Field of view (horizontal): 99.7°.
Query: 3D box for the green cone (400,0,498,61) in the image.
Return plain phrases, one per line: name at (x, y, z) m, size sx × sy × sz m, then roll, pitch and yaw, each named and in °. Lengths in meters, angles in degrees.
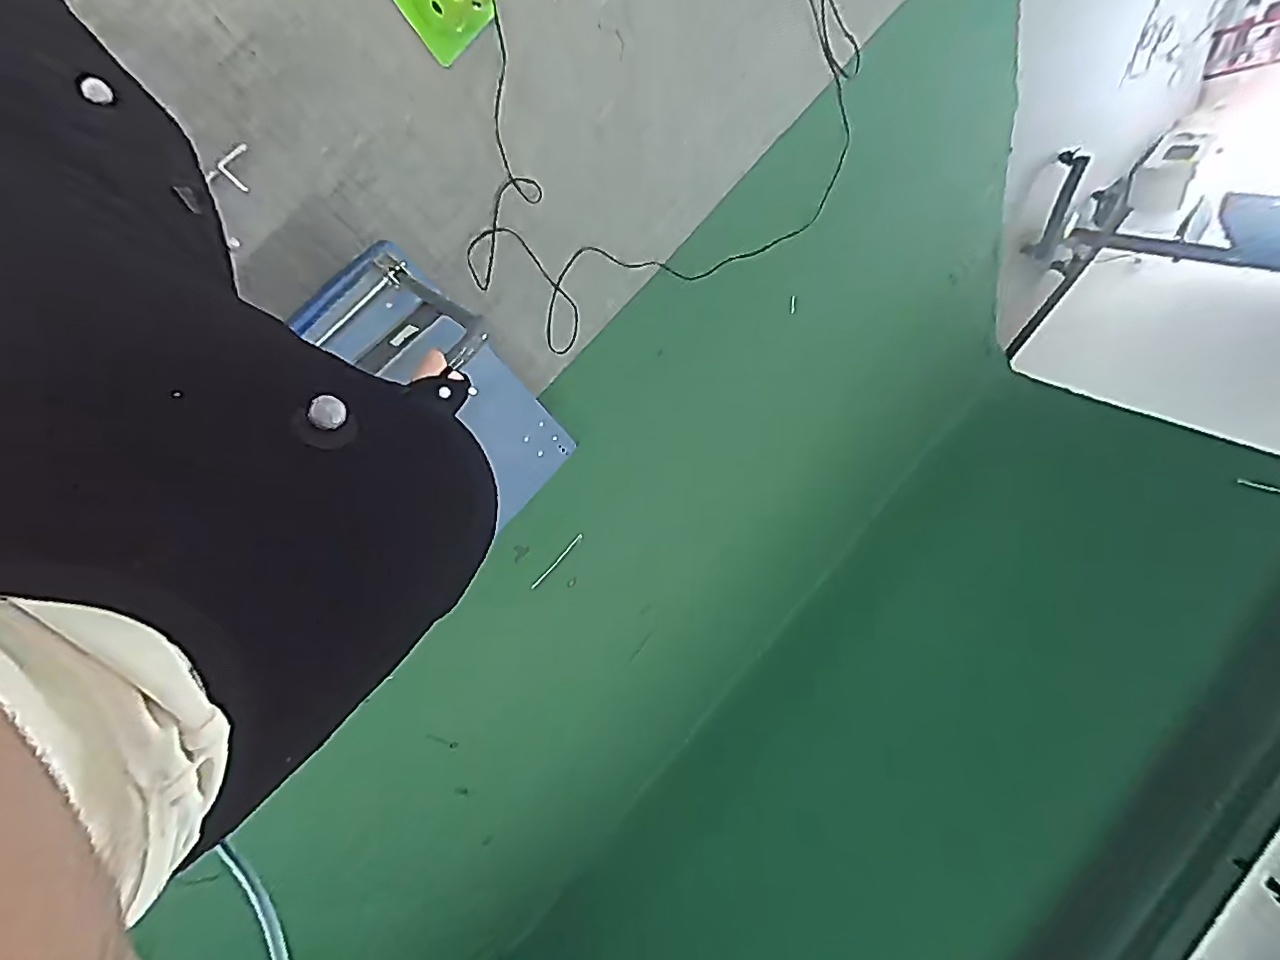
green cone at (-0.341, -1.039, 1.115) m, size 0.202 × 0.368 × 0.200 m, roll -52°, pitch 139°, yaw -2°
